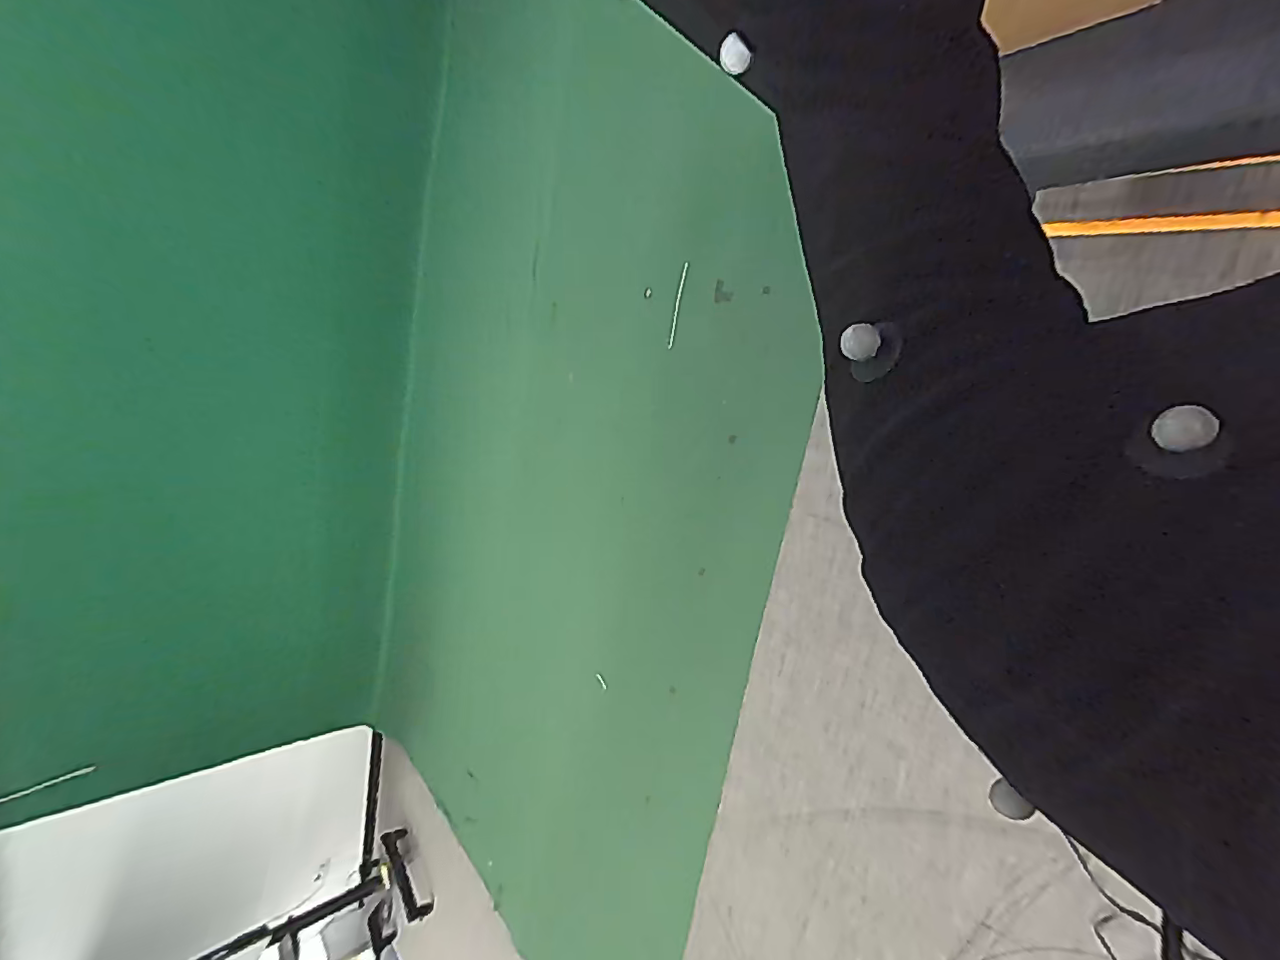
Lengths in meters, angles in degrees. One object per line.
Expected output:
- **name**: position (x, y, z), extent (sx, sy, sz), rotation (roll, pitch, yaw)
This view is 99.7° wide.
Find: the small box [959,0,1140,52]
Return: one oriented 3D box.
- **small box**: position (0.445, -0.604, 0.568), extent (0.179, 0.176, 0.168), rotation (14, 101, 45)
